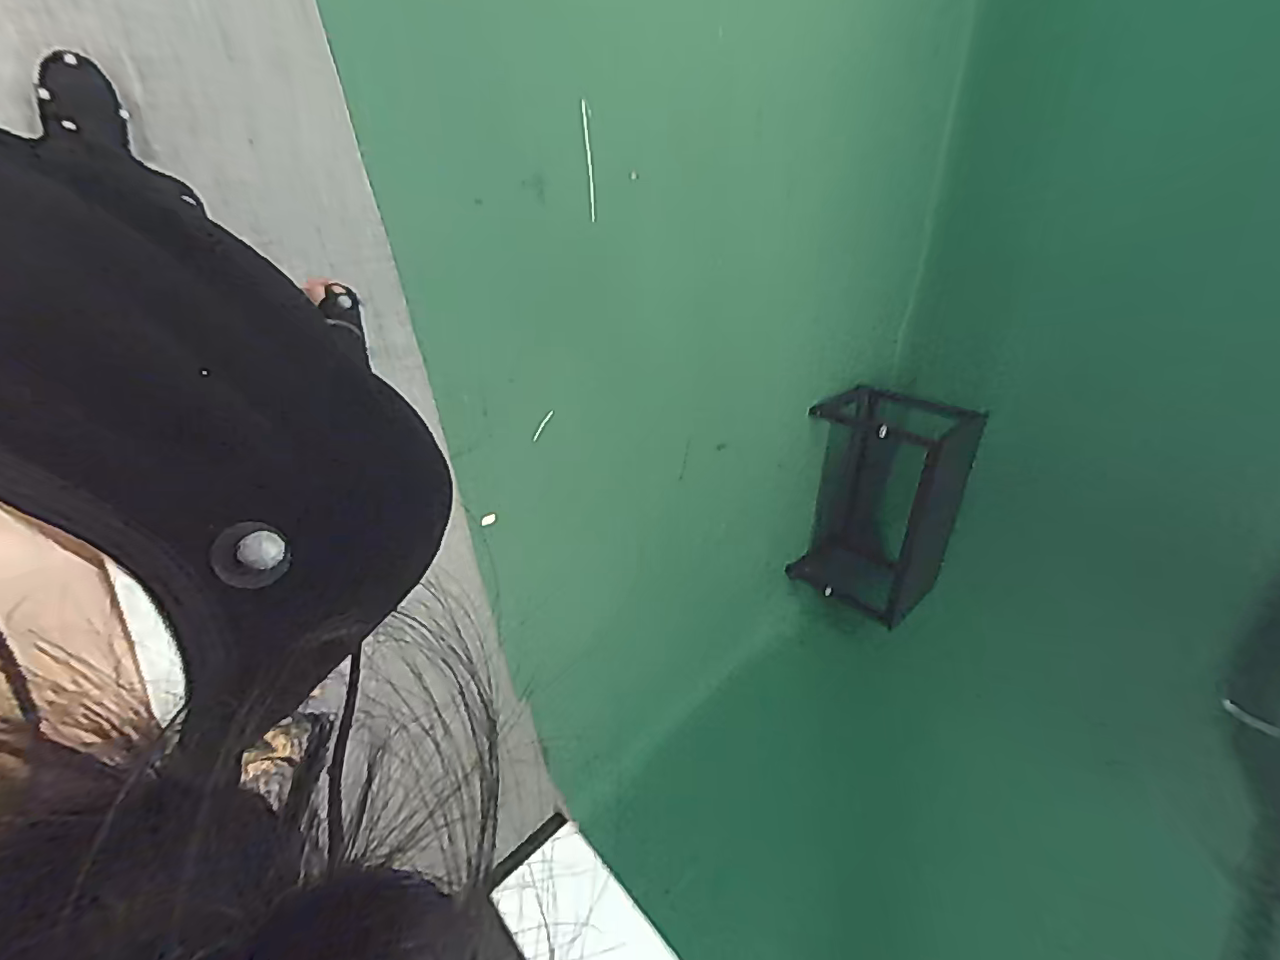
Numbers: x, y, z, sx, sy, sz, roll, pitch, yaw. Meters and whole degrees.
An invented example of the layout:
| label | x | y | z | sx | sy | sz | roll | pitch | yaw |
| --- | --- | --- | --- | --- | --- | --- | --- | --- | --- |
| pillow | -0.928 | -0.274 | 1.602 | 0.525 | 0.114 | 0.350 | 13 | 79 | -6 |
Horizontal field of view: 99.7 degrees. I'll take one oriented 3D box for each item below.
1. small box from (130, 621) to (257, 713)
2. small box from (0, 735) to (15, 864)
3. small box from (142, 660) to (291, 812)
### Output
| label | x | y | z | sx | sy | sz | roll | pitch | yaw |
| --- | --- | --- | --- | --- | --- | --- | --- | --- | --- |
| small box | -0.959 | 0.433 | 1.171 | 0.168 | 0.176 | 0.179 | -29 | 130 | -32 |
| small box | -1.246 | 0.590 | 0.956 | 0.168 | 0.176 | 0.179 | -4 | 114 | -44 |
| small box | -0.841 | 0.497 | 1.075 | 0.179 | 0.176 | 0.168 | -30 | 130 | -31 |
